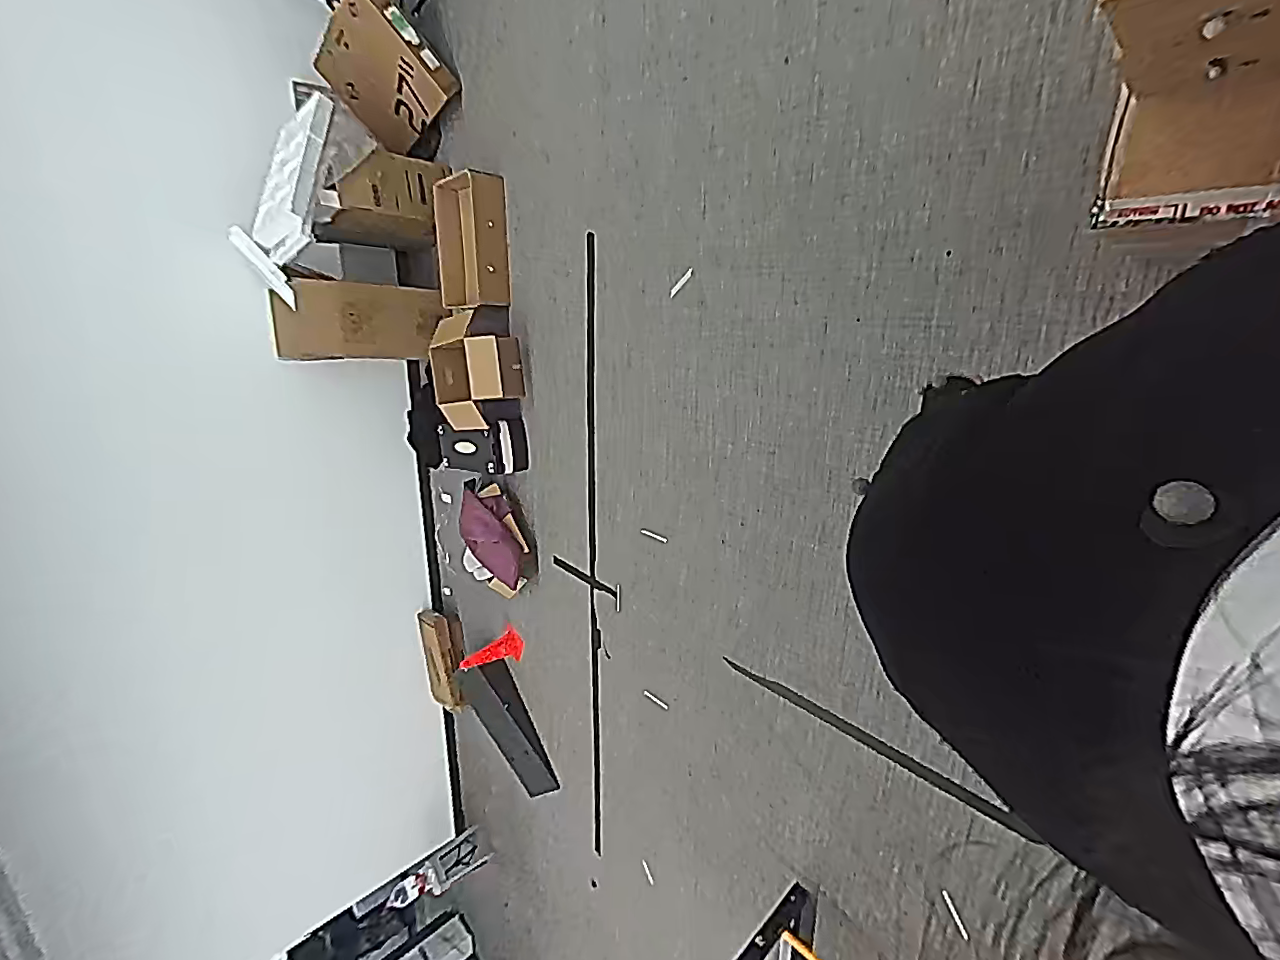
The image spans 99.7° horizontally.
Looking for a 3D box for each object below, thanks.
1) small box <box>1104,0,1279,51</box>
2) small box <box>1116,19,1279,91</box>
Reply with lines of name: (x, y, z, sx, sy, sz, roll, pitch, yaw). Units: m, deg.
small box: (0.534, -0.518, 0.465, 0.168, 0.176, 0.179, 19, 117, 46)
small box: (0.646, -0.560, 0.579, 0.168, 0.176, 0.179, 14, 113, 47)
